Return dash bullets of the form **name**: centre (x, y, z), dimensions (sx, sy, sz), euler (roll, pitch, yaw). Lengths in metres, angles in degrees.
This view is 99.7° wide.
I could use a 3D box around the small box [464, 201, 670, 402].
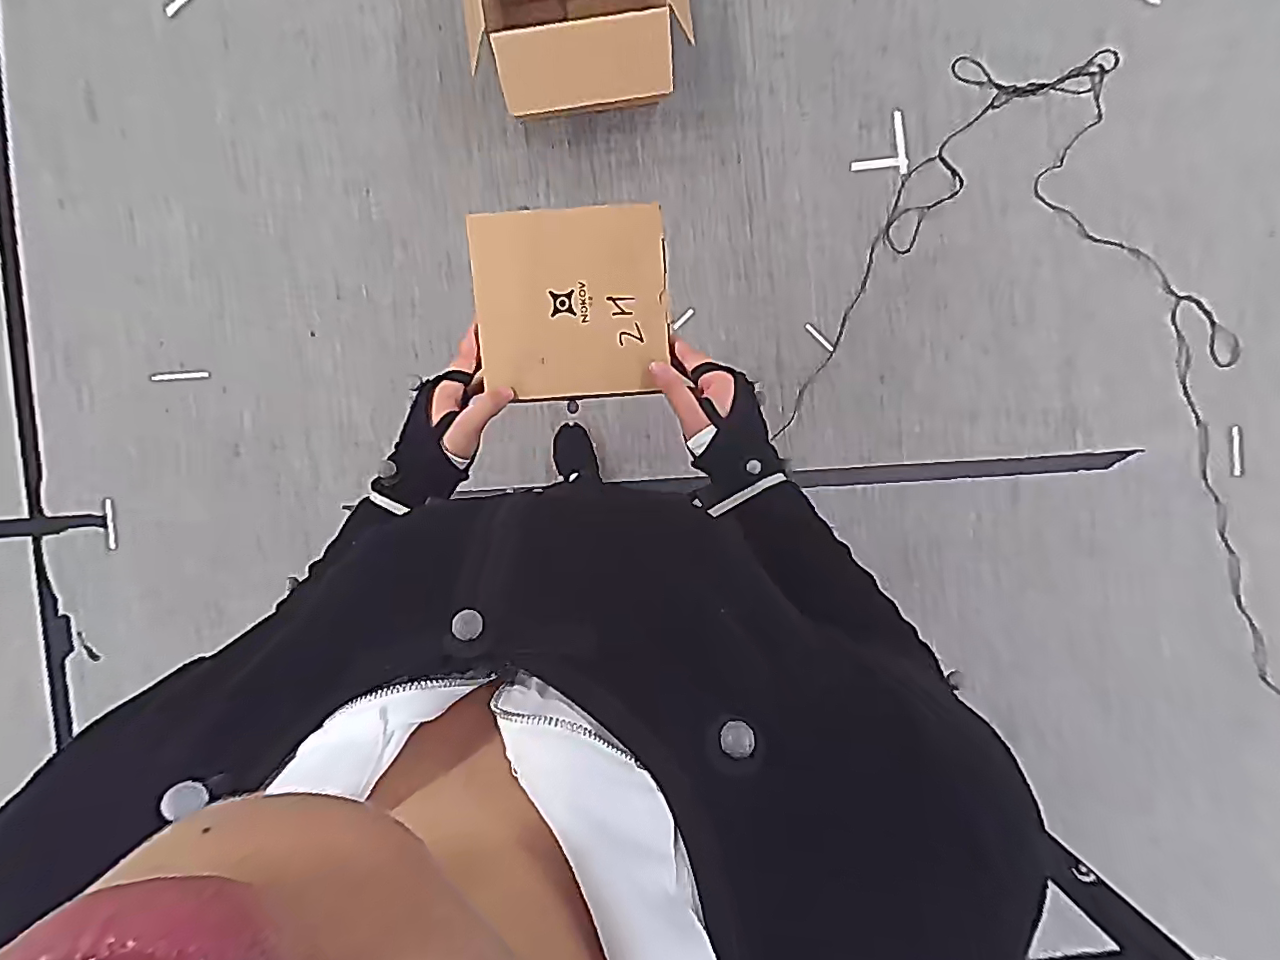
- **small box**: centre (-0.064, -0.168, 0.558), dimensions (0.179, 0.176, 0.168), euler (-4, 98, -2)
